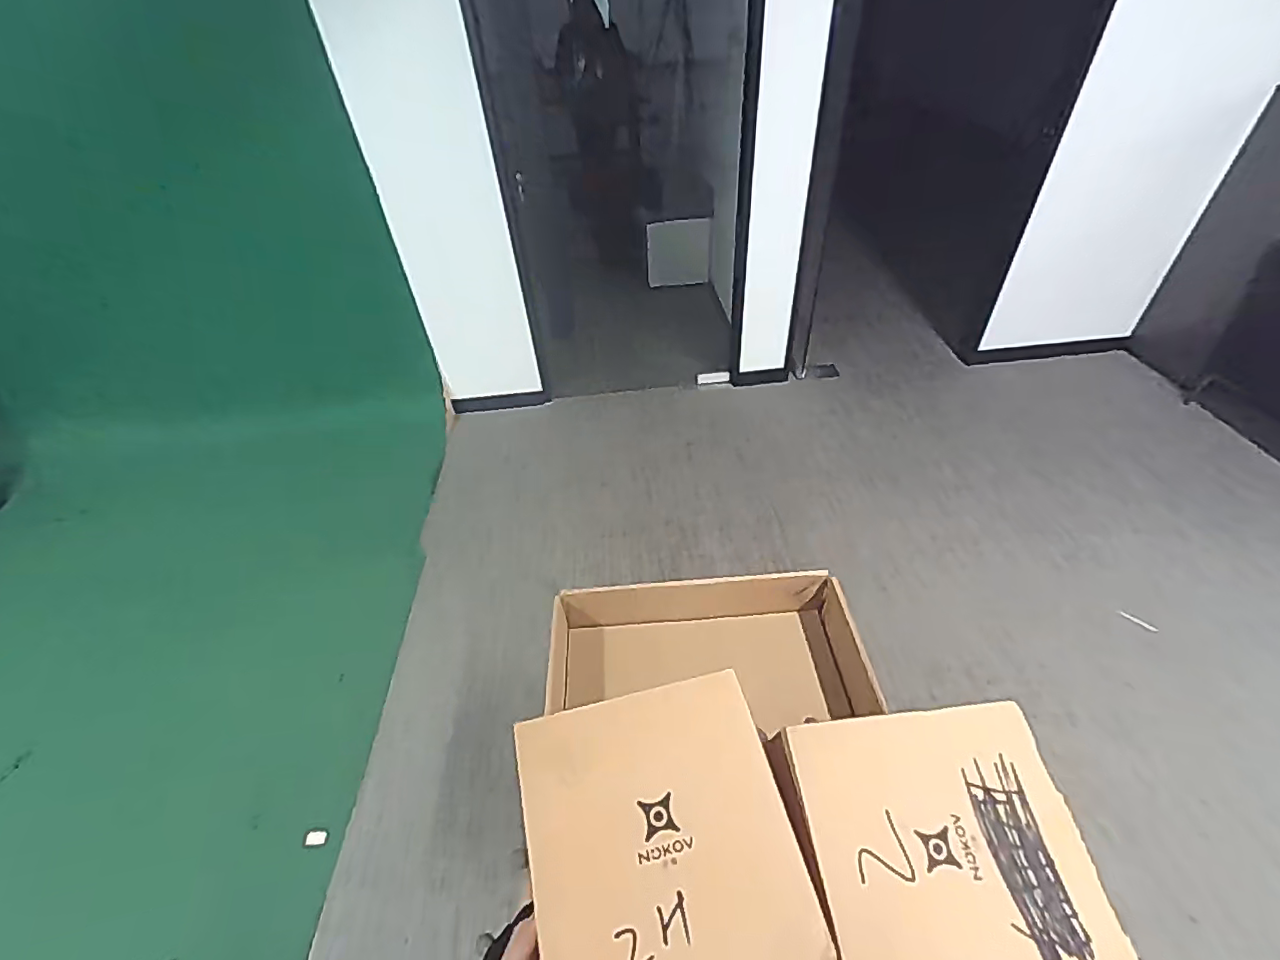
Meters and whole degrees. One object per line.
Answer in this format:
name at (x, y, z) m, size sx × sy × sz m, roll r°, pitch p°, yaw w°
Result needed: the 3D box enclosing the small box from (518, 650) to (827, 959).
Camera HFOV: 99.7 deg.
small box at (0.007, 0.257, 0.411) m, size 0.168 × 0.176 × 0.179 m, roll -11°, pitch 55°, yaw -10°
